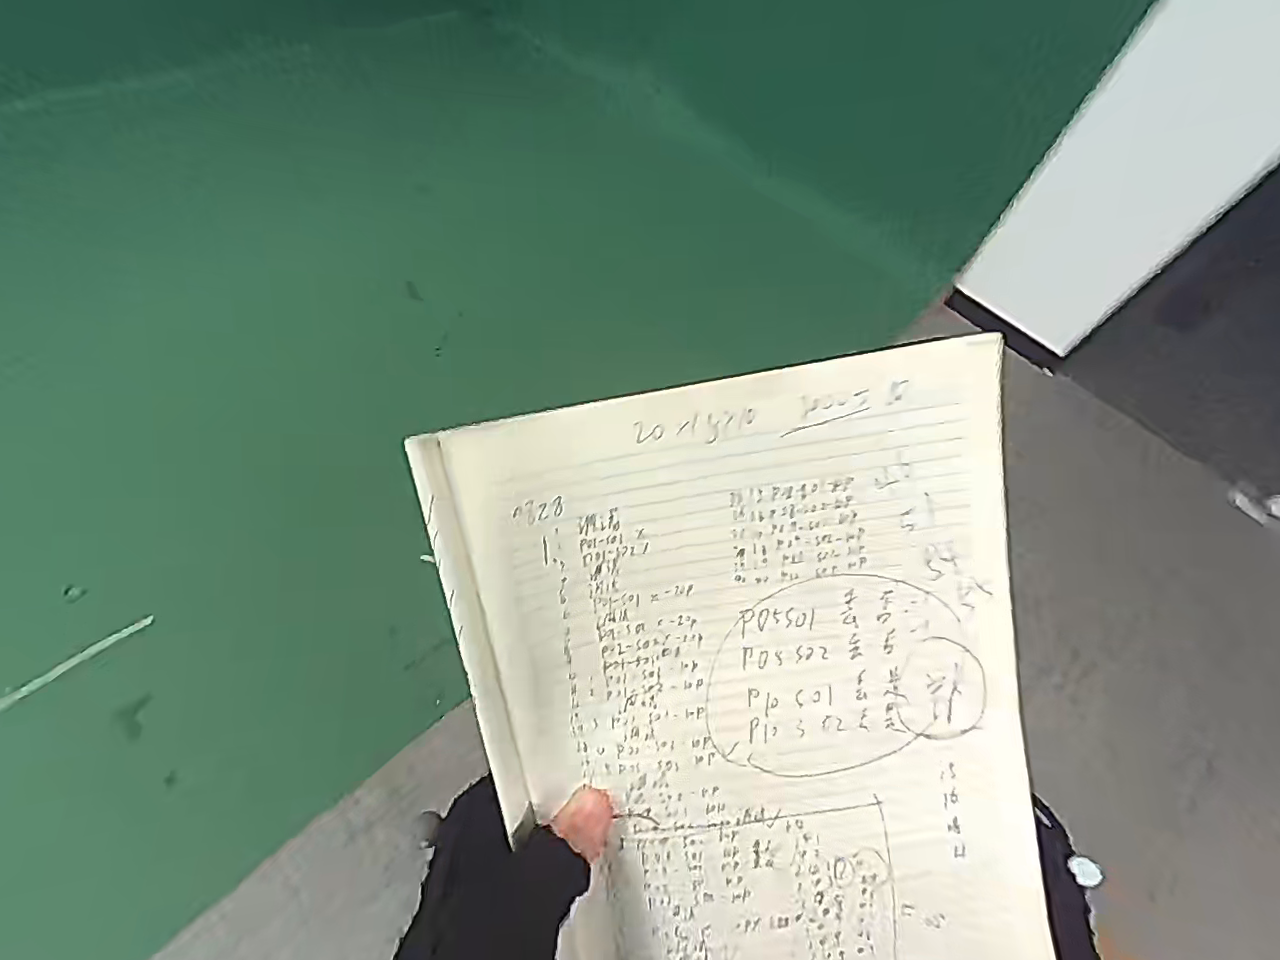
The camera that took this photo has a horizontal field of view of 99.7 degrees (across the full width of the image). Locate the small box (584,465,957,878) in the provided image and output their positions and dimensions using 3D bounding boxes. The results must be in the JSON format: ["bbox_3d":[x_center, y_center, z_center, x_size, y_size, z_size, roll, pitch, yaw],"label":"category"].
[{"bbox_3d":[0.053,0.084,0.315,0.168,0.176,0.179,-1,89,-2],"label":"small box"}]
